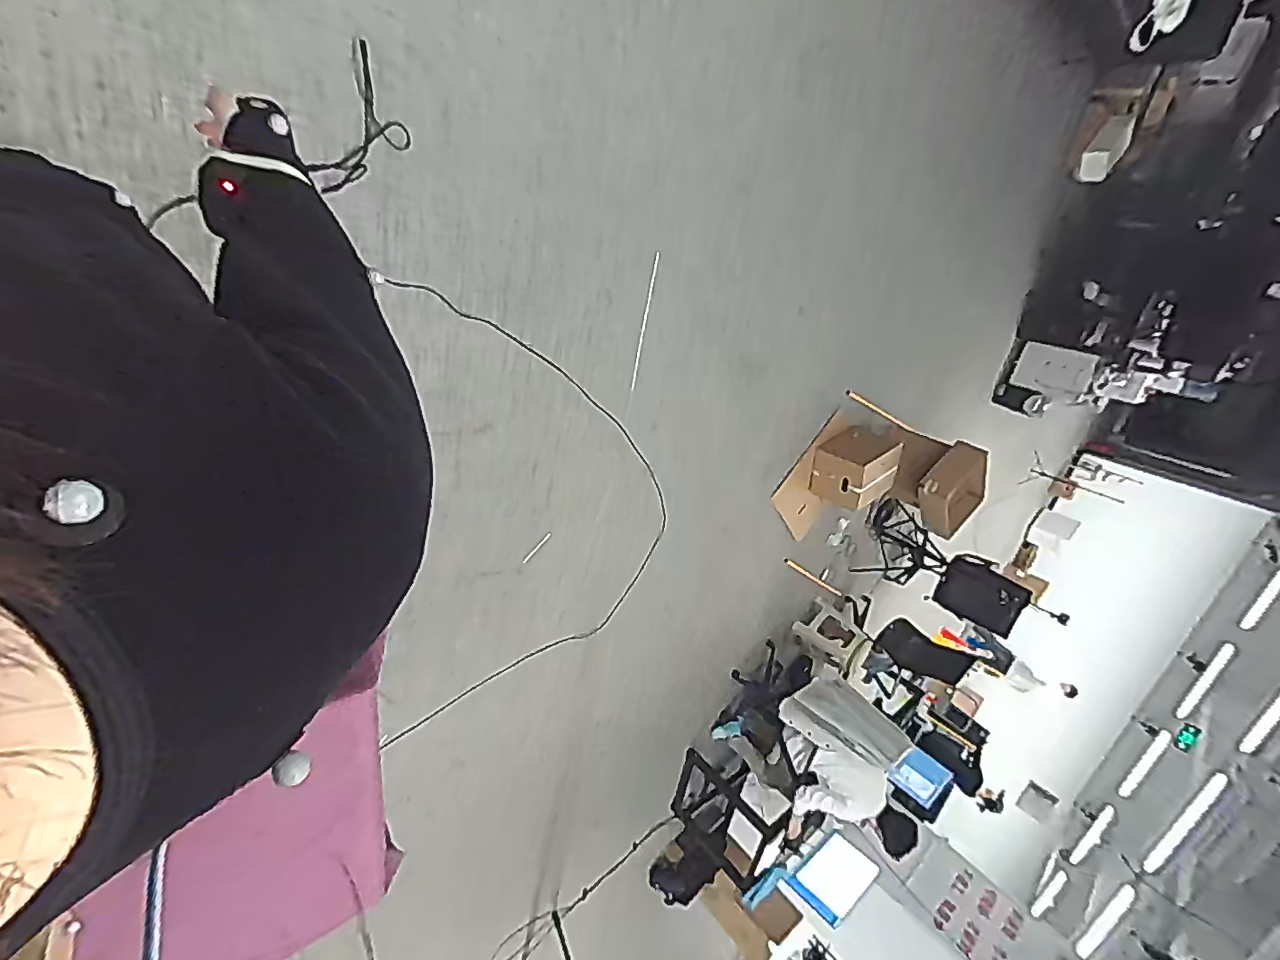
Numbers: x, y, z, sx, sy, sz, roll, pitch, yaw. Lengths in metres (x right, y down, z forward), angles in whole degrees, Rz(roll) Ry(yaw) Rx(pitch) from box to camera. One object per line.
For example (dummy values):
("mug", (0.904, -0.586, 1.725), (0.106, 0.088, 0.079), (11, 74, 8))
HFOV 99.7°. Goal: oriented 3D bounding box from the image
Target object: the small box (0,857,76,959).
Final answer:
("small box", (-0.788, 0.596, 0.620), (0.179, 0.176, 0.168), (-7, 120, -42))
